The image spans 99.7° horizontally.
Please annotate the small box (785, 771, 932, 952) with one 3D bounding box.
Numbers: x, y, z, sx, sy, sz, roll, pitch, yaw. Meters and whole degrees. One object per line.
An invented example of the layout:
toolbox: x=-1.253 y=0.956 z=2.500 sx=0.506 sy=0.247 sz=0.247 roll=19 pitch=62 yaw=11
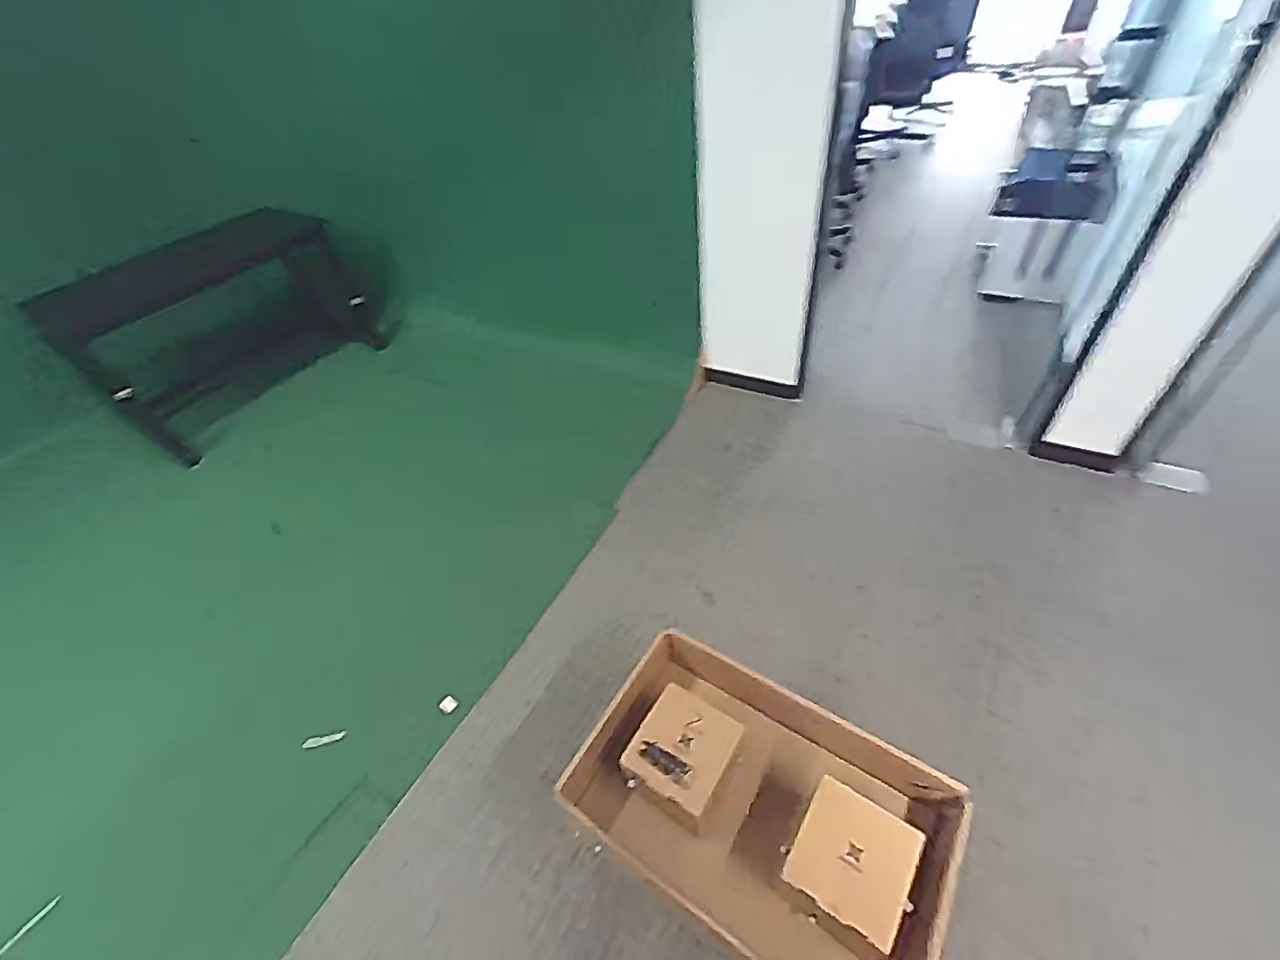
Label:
small box: x=0.350 y=0.629 z=0.893 sx=0.168 sy=0.176 sz=0.179 roll=23 pitch=55 yaw=27
